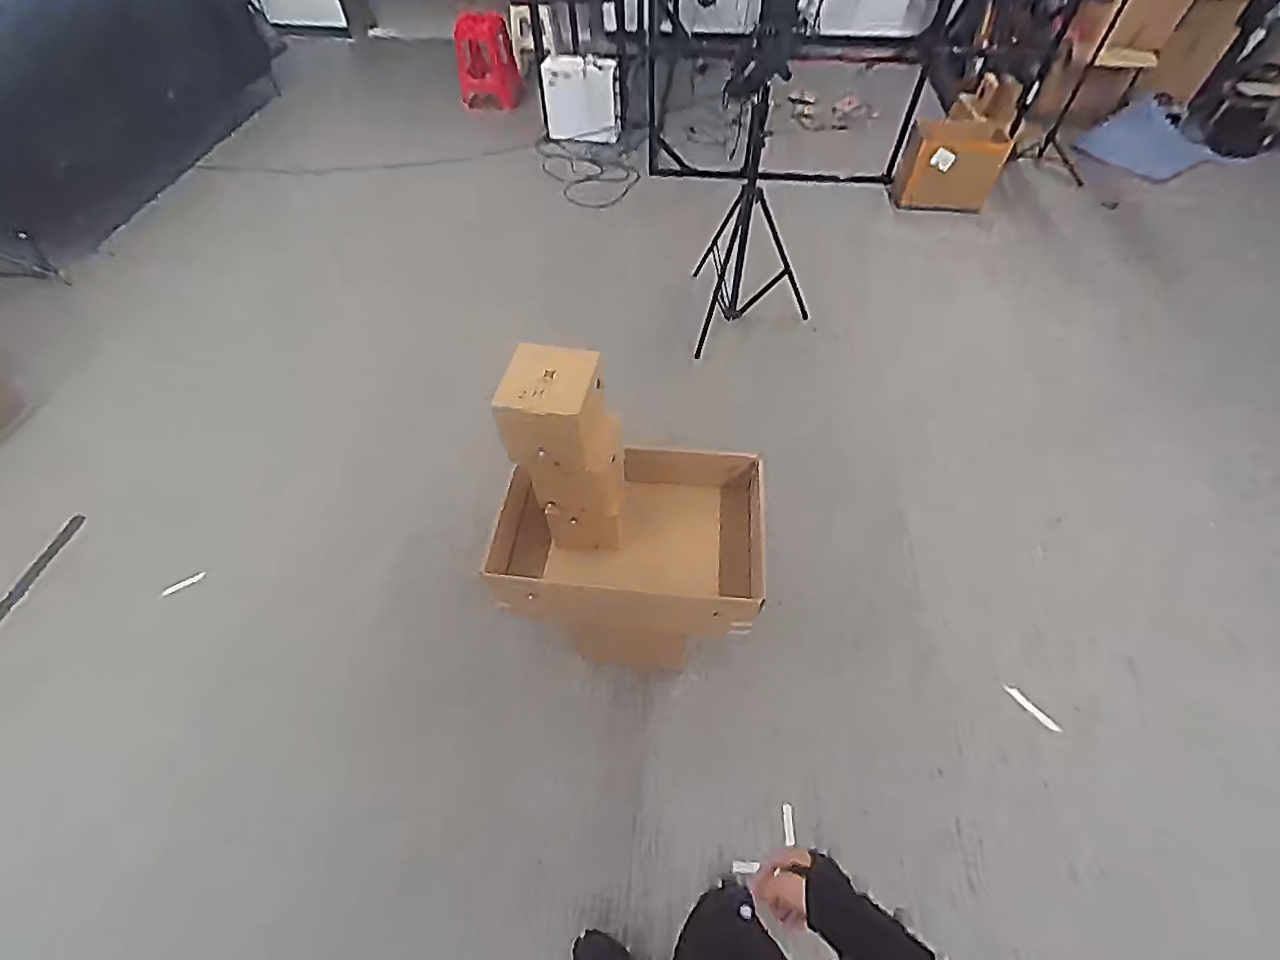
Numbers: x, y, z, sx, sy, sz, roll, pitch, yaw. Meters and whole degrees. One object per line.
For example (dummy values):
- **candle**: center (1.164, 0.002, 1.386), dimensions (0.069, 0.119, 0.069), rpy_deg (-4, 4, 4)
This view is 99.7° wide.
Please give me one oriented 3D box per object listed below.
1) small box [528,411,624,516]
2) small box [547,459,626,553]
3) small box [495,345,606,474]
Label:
- **small box**: center (-0.131, -0.039, 1.199), dimensions (0.168, 0.176, 0.179), rpy_deg (8, 54, 6)
- **small box**: center (-0.123, 0.059, 1.332), dimensions (0.168, 0.176, 0.179), rpy_deg (2, 54, 3)
- **small box**: center (-0.165, -0.137, 1.069), dimensions (0.168, 0.176, 0.179), rpy_deg (8, 55, 7)
